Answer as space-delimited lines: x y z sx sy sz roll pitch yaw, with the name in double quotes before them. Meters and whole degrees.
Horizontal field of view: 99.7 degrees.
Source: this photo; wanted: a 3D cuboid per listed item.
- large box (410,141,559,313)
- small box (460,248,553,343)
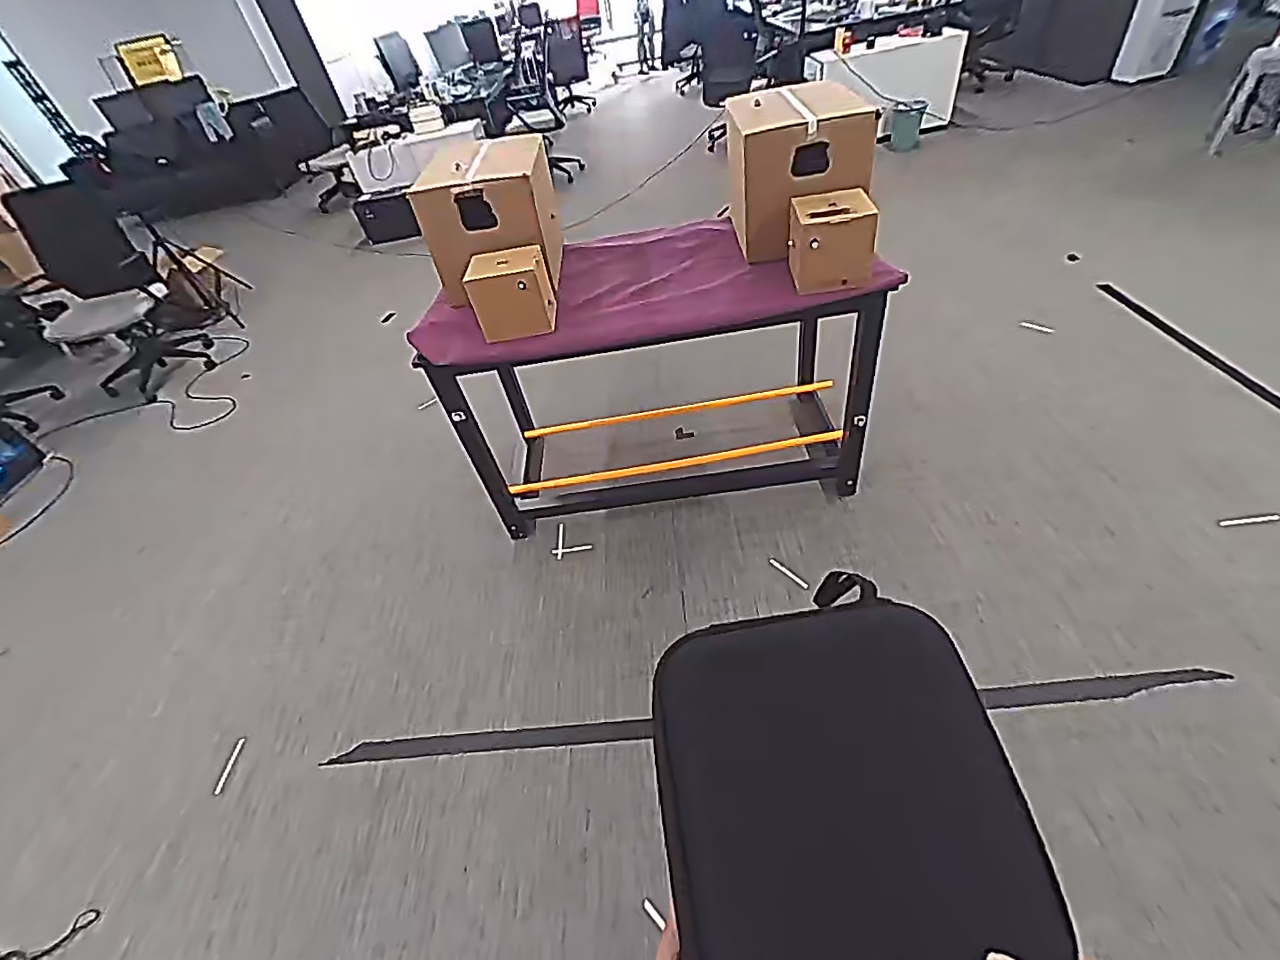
"large box" -0.419 -0.740 1.572 0.320 0.320 0.408 -8 46 3
"small box" -0.332 -0.466 1.376 0.179 0.176 0.168 -9 43 2
